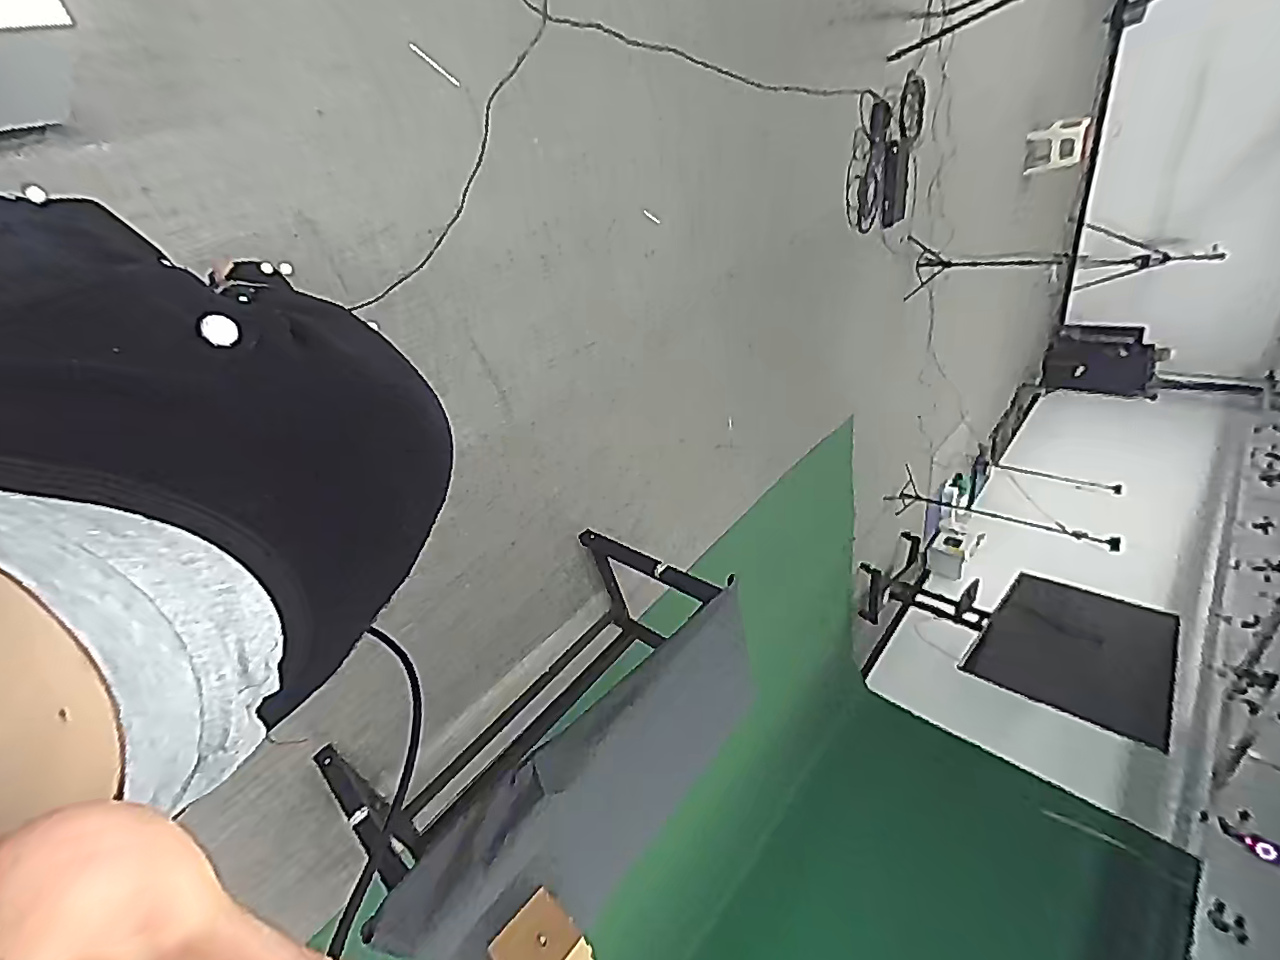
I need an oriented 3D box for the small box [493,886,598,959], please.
[{"bbox_3d":[-0.234,1.177,1.351,0.179,0.176,0.168,-34,126,-36],"label":"small box"}]
